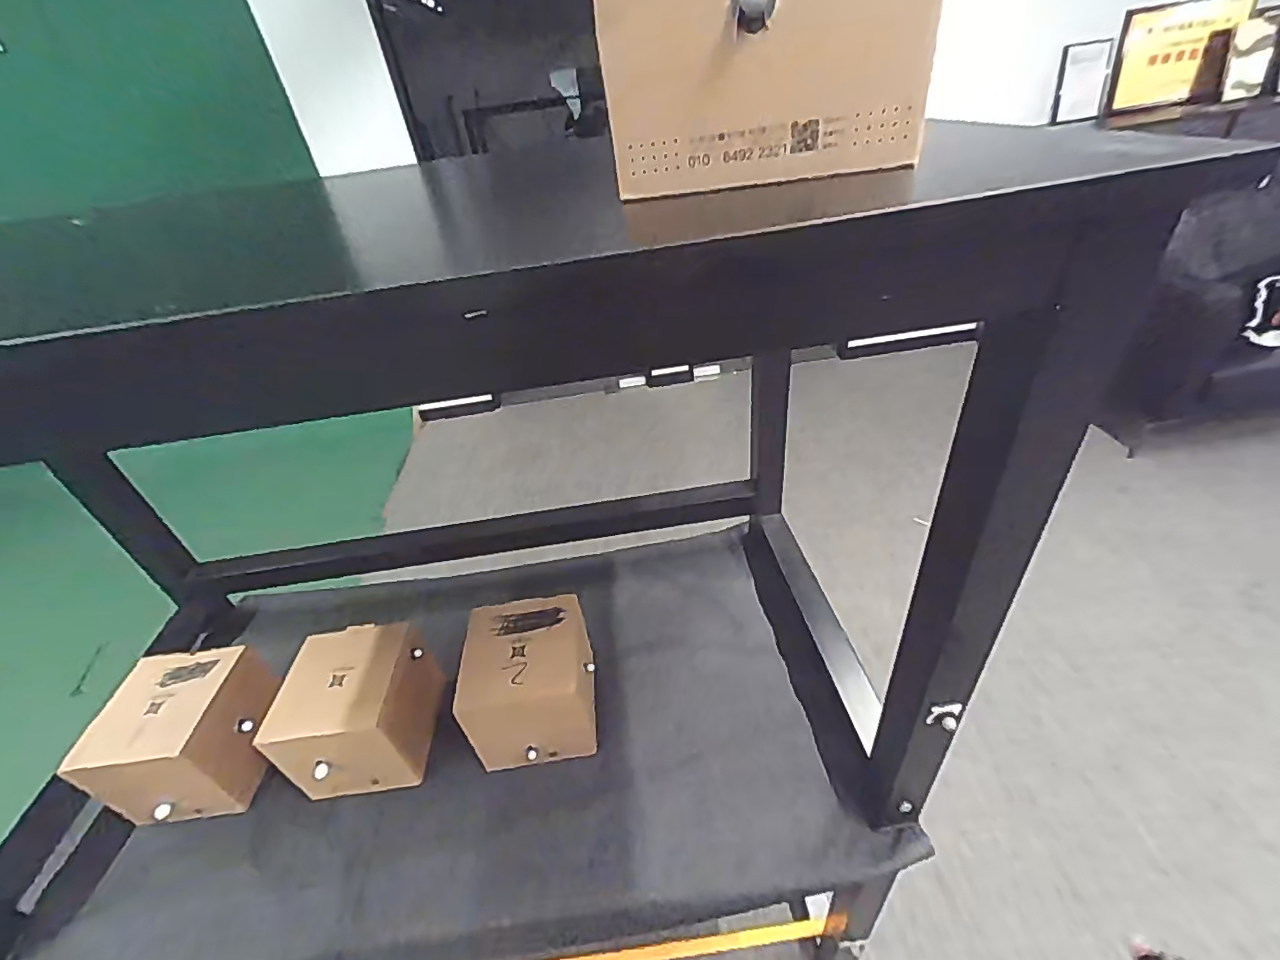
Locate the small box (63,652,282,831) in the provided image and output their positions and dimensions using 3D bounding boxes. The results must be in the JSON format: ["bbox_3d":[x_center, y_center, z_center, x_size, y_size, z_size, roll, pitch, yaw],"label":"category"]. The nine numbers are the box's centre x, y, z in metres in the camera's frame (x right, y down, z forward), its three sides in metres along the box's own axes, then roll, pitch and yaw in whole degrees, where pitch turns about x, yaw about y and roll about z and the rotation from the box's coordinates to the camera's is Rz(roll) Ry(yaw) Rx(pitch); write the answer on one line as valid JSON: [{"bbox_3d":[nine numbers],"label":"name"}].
[{"bbox_3d":[-0.667,0.390,0.813,0.168,0.176,0.179,-8,36,0],"label":"small box"}]

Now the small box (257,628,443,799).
[{"bbox_3d":[-0.416,0.355,0.816,0.168,0.176,0.179,-8,35,0],"label":"small box"}]

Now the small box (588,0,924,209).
[{"bbox_3d":[0.065,-0.273,0.329,0.168,0.176,0.179,-2,36,9],"label":"small box"}]
